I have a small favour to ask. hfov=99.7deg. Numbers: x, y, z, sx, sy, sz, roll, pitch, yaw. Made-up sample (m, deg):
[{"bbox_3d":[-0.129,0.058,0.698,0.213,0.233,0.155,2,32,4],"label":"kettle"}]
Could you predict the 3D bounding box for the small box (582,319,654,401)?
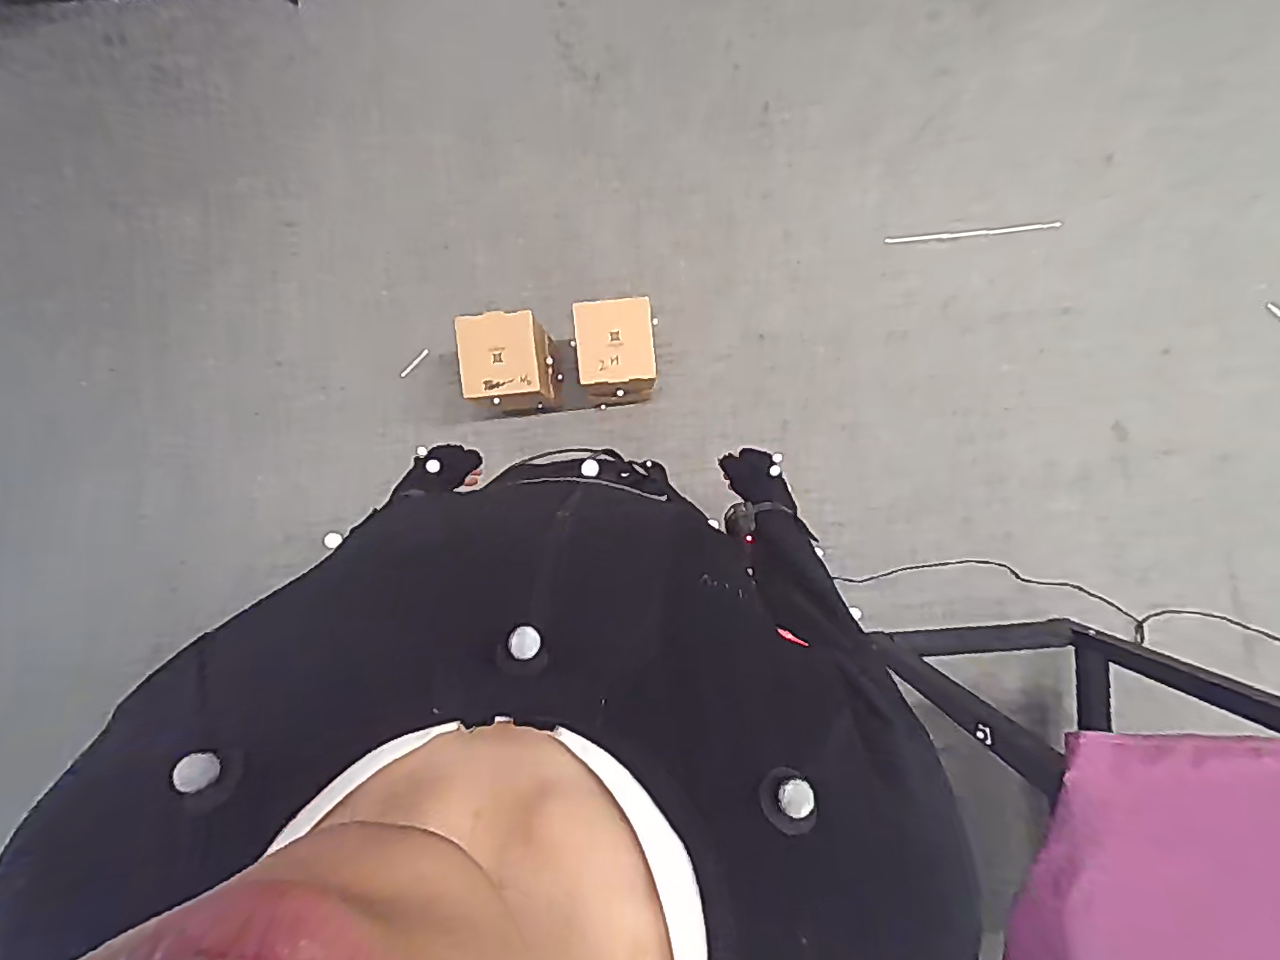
[{"bbox_3d":[-0.054,-0.300,1.389,0.168,0.176,0.179,-6,91,-1],"label":"small box"}]
